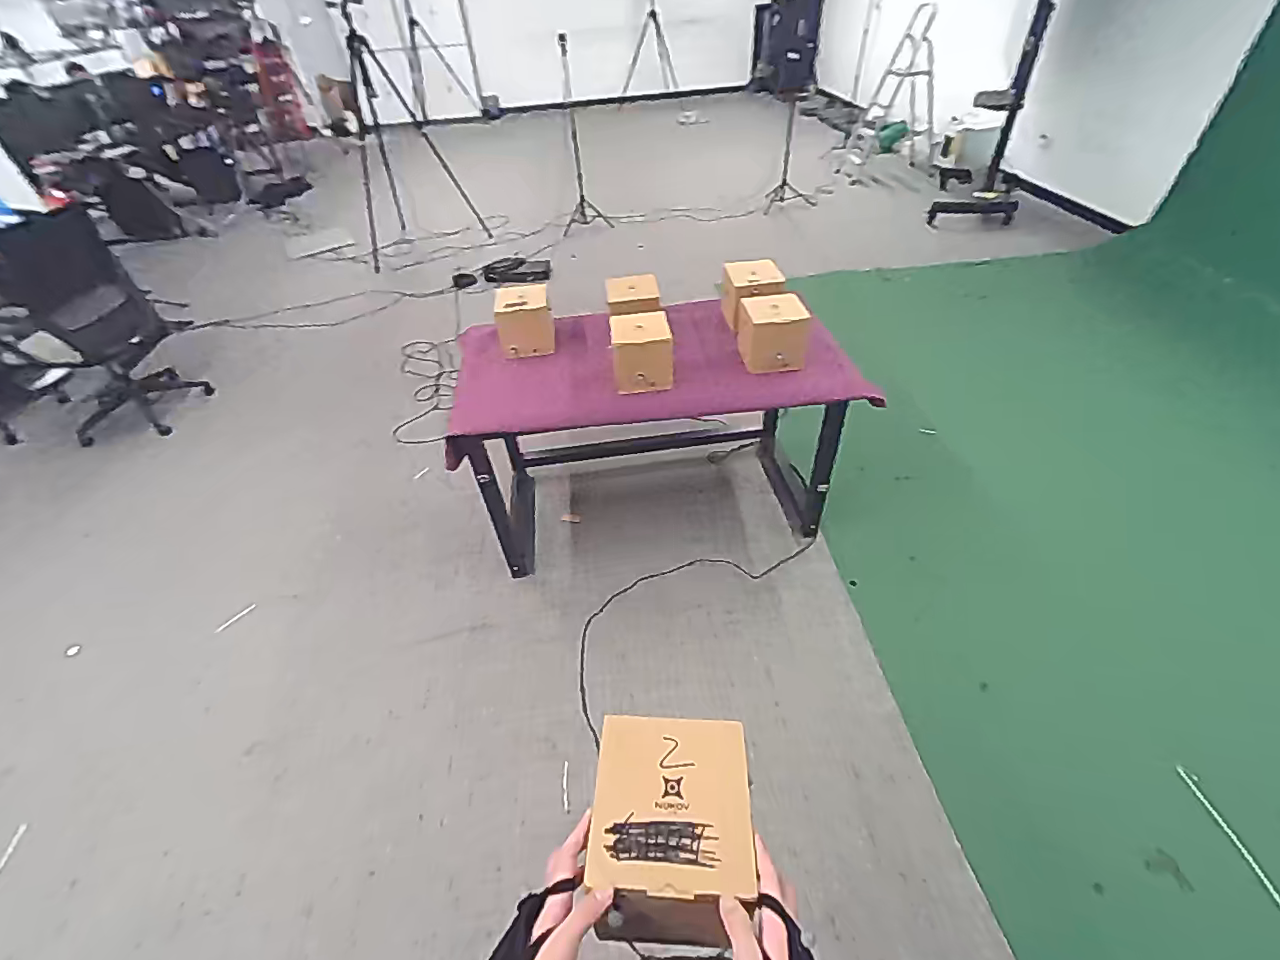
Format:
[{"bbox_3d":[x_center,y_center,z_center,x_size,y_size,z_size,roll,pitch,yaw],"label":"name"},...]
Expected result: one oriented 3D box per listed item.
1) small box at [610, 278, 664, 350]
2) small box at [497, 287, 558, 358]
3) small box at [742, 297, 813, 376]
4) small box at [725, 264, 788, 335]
[{"bbox_3d":[-0.011,-0.555,1.810,0.168,0.176,0.179,-7,44,-1],"label":"small box"},{"bbox_3d":[-0.368,-0.519,1.800,0.168,0.176,0.179,-6,43,-3],"label":"small box"},{"bbox_3d":[0.408,-0.433,1.636,0.168,0.176,0.179,-6,42,0],"label":"small box"},{"bbox_3d":[0.387,-0.610,1.829,0.168,0.176,0.179,-7,44,-1],"label":"small box"}]
